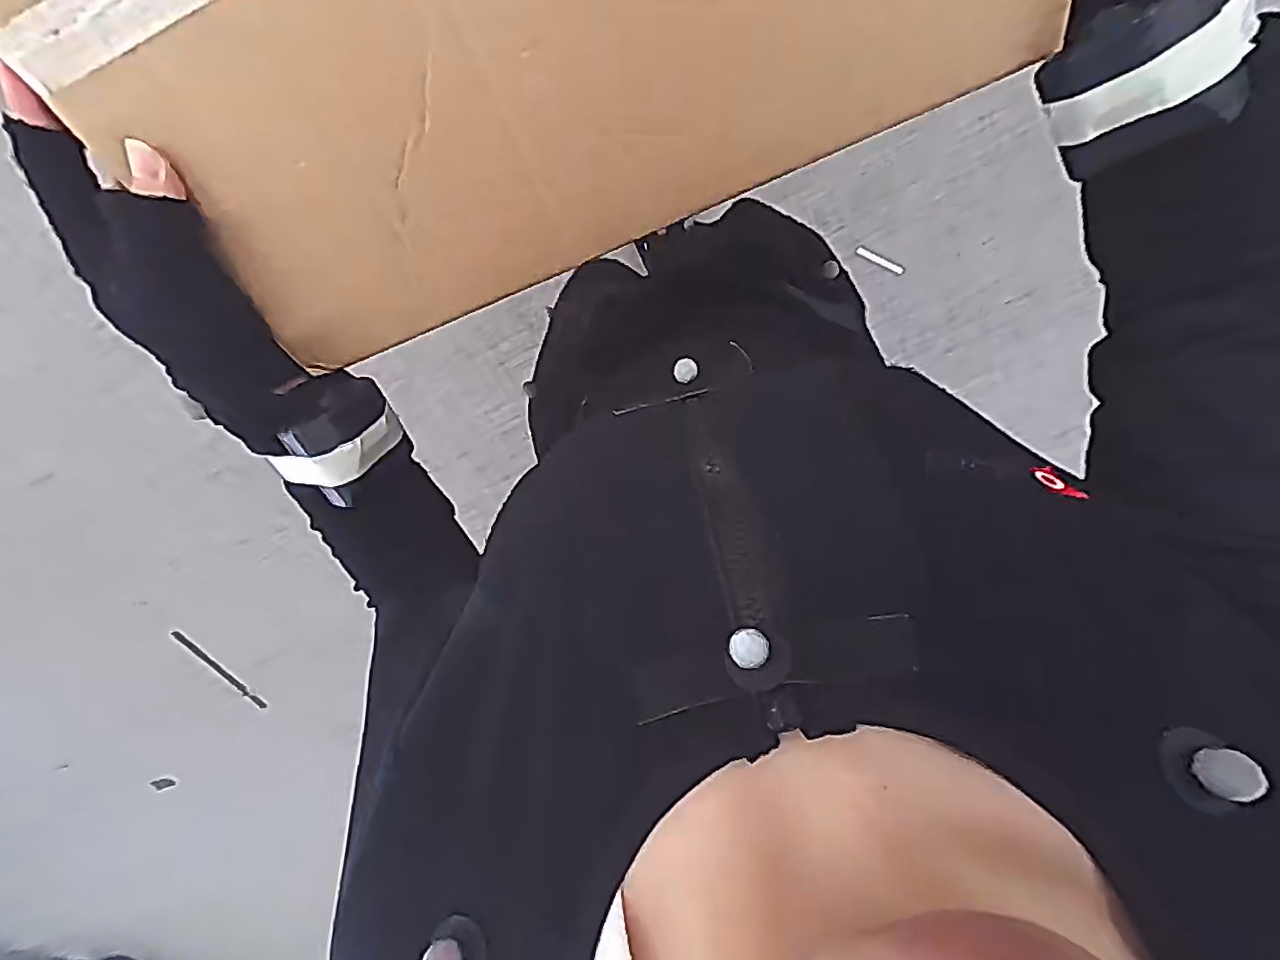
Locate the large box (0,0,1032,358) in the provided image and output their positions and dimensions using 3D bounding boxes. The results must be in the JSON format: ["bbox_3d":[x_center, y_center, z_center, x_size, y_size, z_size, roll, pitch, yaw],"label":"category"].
[{"bbox_3d":[-0.074,-0.338,0.289,0.408,0.320,0.320,-20,132,10],"label":"large box"}]
